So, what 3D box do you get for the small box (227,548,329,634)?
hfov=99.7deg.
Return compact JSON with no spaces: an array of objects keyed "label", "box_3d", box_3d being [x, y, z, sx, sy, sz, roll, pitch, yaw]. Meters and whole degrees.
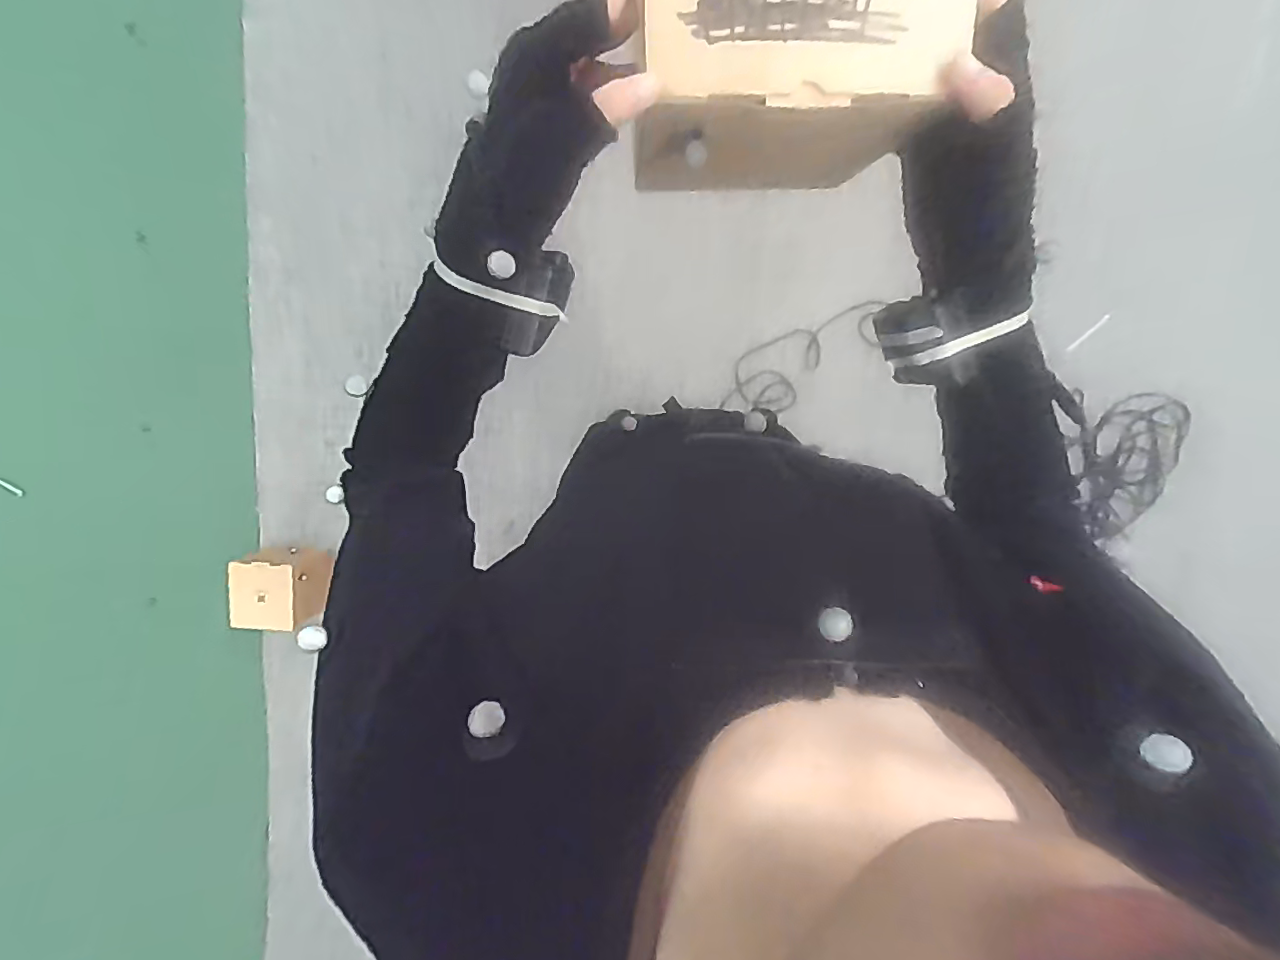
[{"label":"small box","box_3d":[-0.952,0.290,1.436,0.168,0.176,0.179,3,96,0]}]
